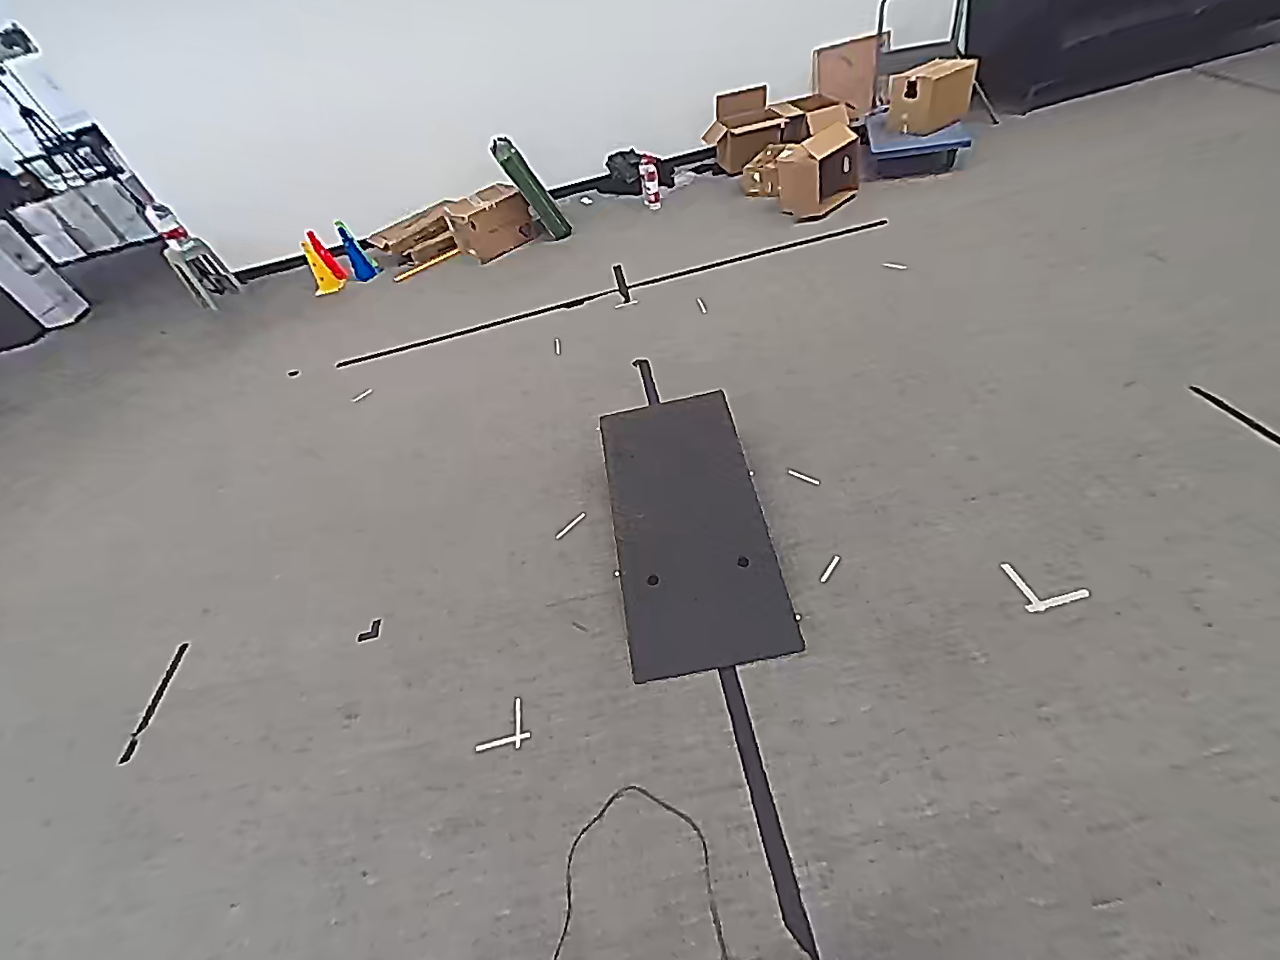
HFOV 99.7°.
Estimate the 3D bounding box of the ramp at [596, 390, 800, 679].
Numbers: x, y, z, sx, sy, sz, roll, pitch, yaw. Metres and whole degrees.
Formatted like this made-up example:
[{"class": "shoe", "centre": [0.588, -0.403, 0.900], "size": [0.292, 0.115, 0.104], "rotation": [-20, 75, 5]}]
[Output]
[{"class": "ramp", "centre": [0.145, 0.113, 1.801], "size": [0.509, 0.206, 0.991], "rotation": [-13, 46, 1]}]
